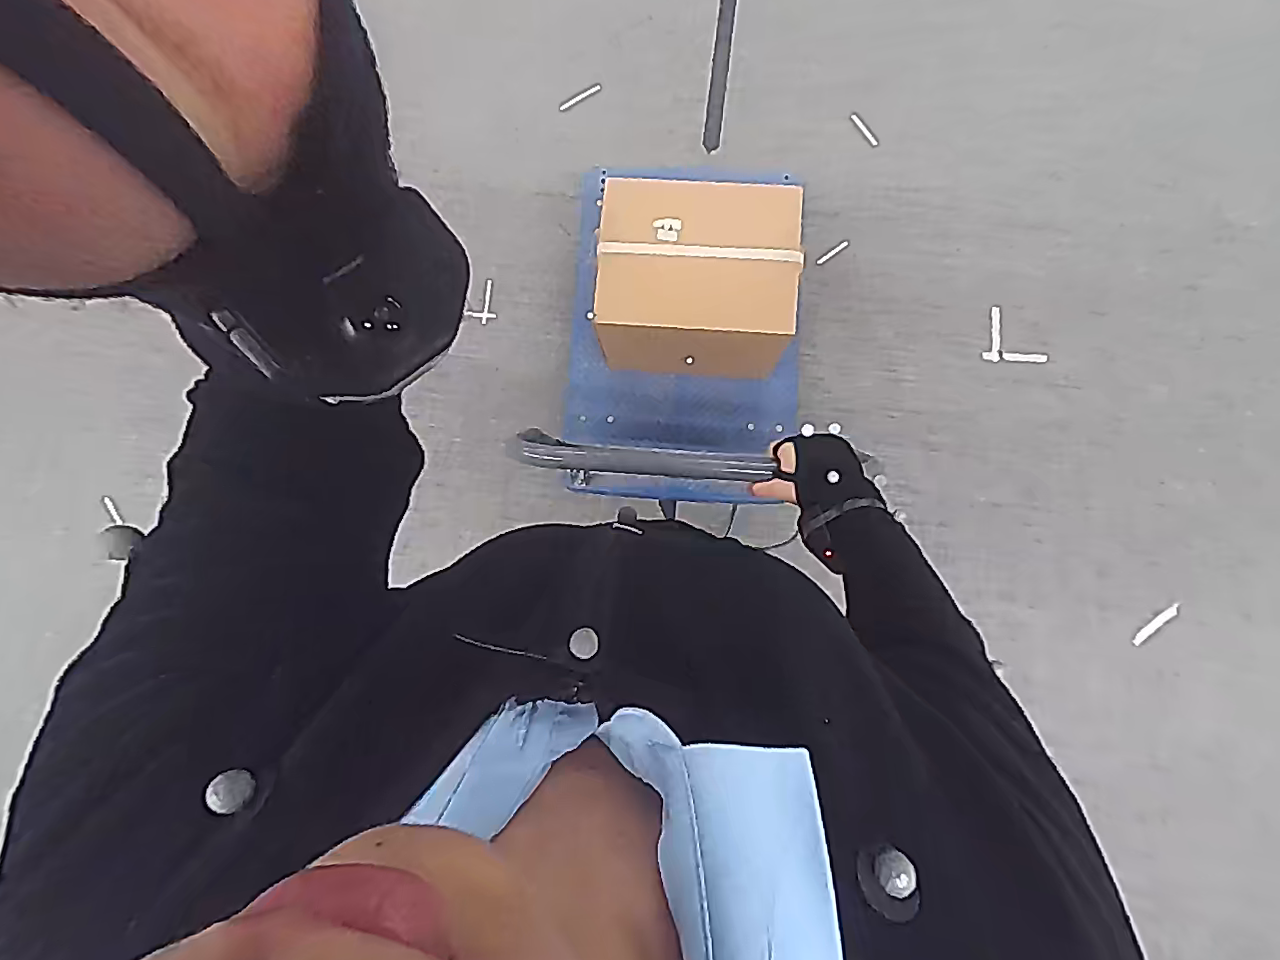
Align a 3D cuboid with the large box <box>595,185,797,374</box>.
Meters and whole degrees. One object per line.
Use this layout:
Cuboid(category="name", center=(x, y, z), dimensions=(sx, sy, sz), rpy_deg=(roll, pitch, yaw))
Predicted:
Cuboid(category="large box", center=(0.126, -0.441, 1.248), dimensions=(0.408, 0.320, 0.320), rpy_deg=(4, 83, 4))
